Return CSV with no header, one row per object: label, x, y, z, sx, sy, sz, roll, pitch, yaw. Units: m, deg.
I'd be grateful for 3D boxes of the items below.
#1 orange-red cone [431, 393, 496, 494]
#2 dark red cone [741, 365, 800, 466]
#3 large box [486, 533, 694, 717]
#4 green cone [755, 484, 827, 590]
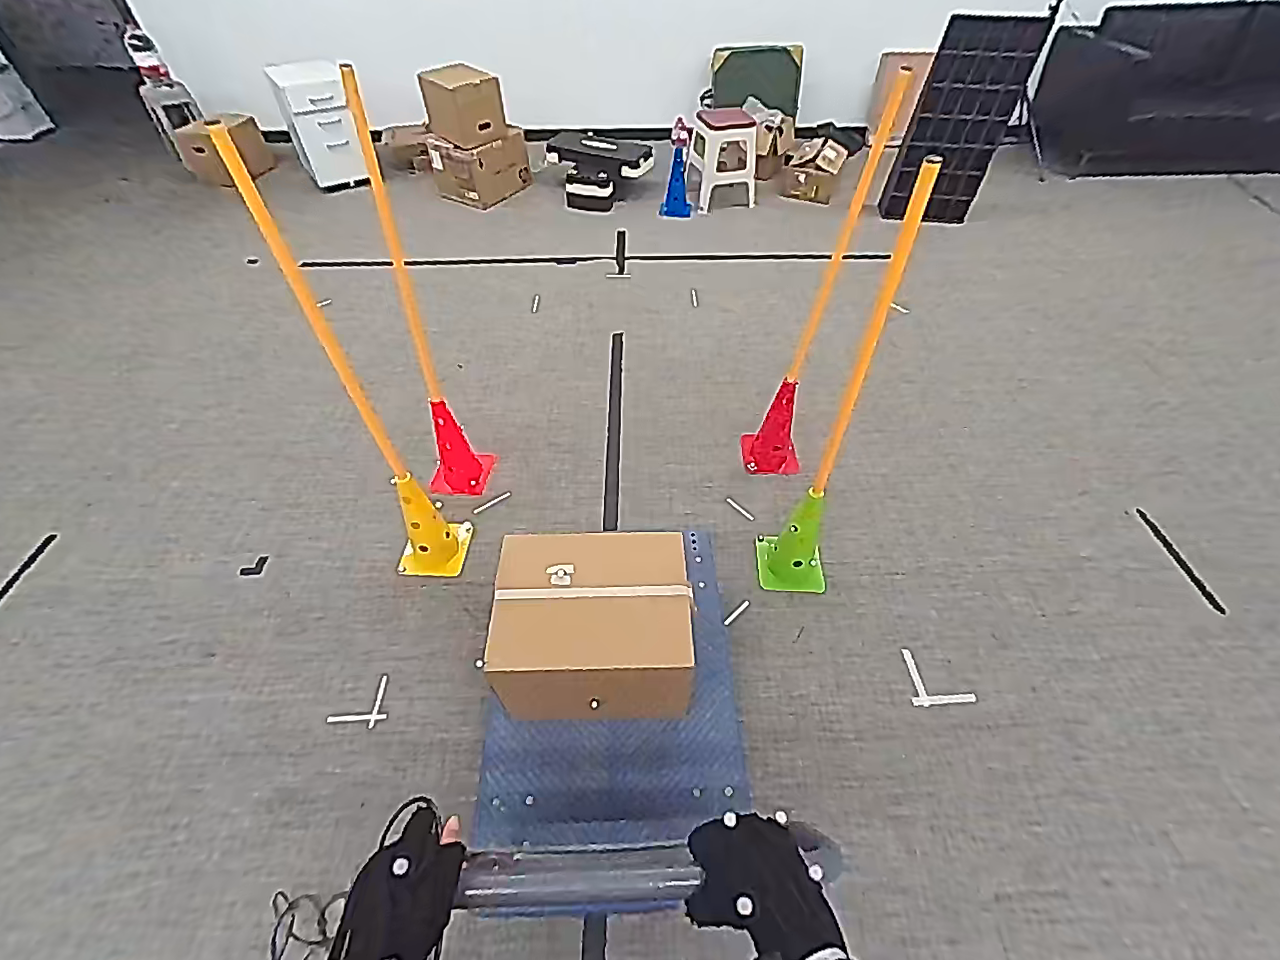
orange-red cone,-0.637,-0.147,1.843,0.198,0.360,0.199,6,48,4
dark red cone,0.493,-0.232,1.899,0.201,0.394,0.202,1,50,-2
large box,-0.098,0.337,1.237,0.408,0.320,0.320,-1,49,0
green cone,0.478,0.147,1.596,0.202,0.368,0.200,3,49,1
